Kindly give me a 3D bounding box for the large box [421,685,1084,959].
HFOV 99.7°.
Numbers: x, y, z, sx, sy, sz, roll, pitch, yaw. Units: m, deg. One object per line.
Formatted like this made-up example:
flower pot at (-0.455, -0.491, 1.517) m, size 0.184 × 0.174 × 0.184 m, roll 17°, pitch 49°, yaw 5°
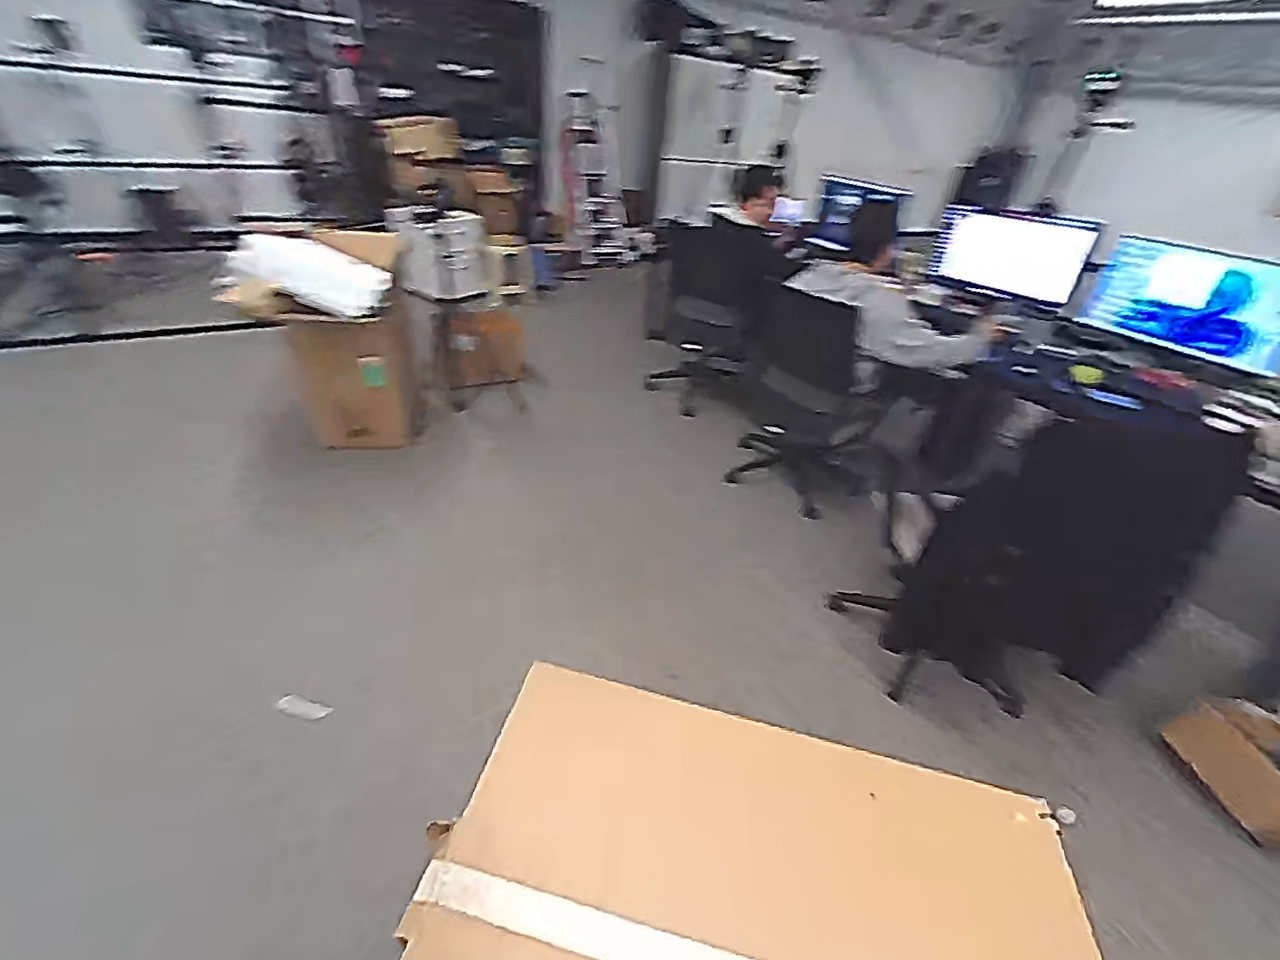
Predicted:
large box at (0.054, 0.411, 0.403) m, size 0.408 × 0.320 × 0.320 m, roll 13°, pitch 40°, yaw 4°
